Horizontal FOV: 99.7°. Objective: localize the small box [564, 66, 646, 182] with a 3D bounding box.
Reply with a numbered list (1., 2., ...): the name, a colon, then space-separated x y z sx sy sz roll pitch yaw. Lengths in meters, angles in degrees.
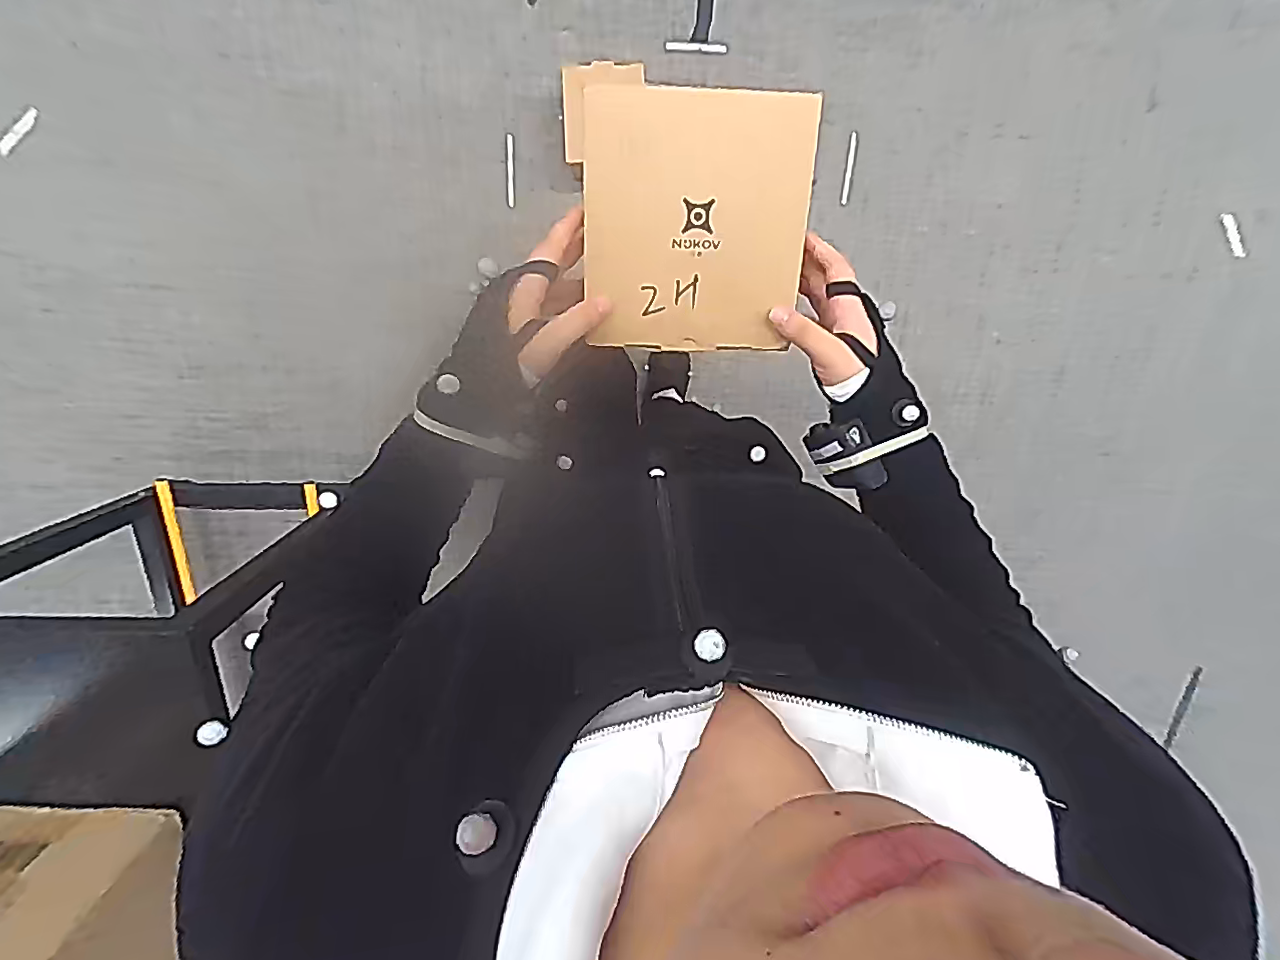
1. small box: -0.072 -0.760 1.170 0.168 0.176 0.179 -1 110 0
